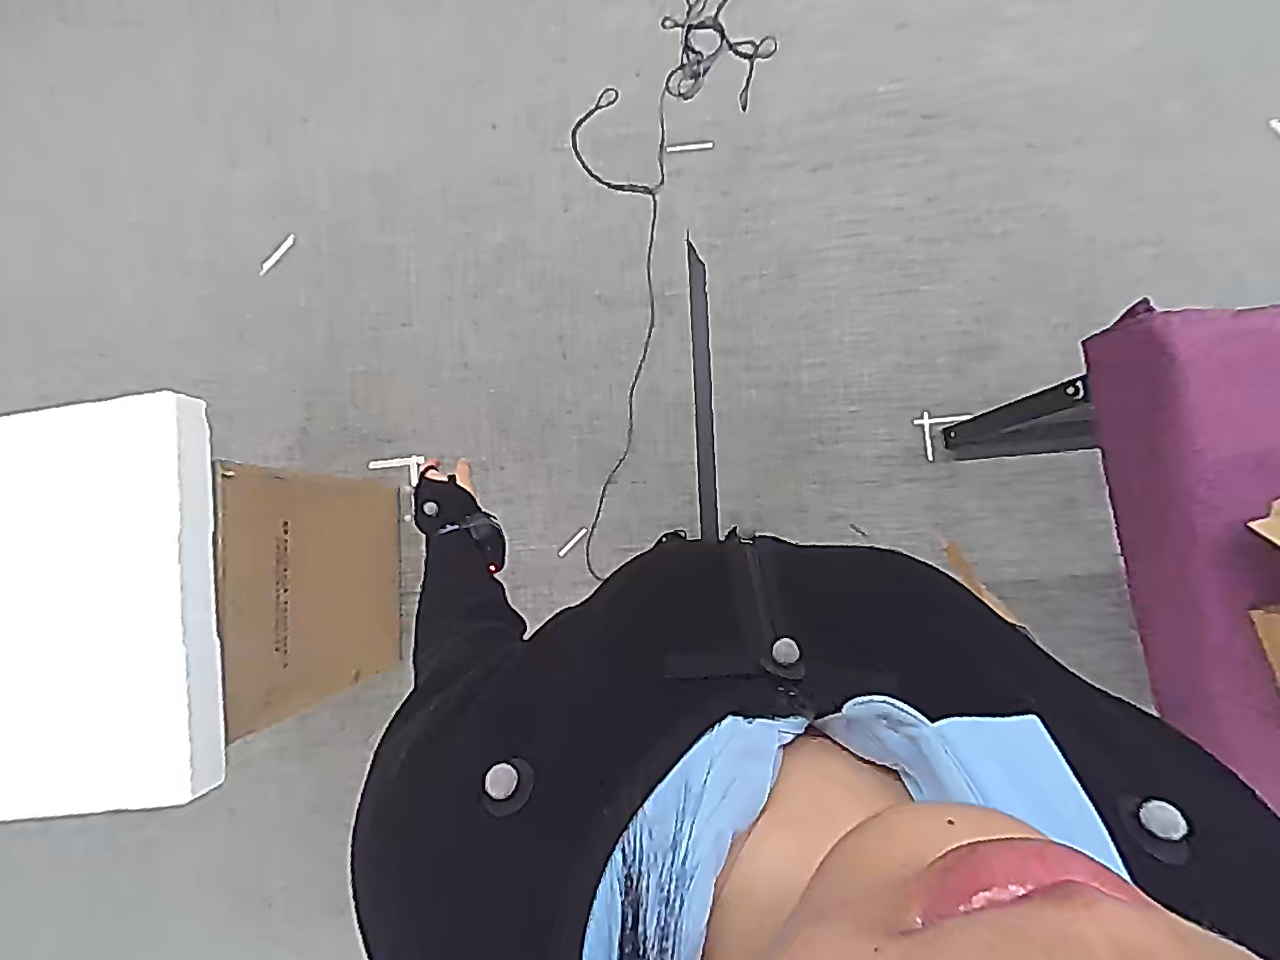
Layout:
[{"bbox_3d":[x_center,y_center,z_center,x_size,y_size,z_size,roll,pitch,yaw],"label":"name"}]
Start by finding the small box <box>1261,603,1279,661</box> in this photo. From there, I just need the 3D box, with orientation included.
[{"bbox_3d":[0.884,0.218,0.606,0.168,0.176,0.179,-14,83,4],"label":"small box"}]
